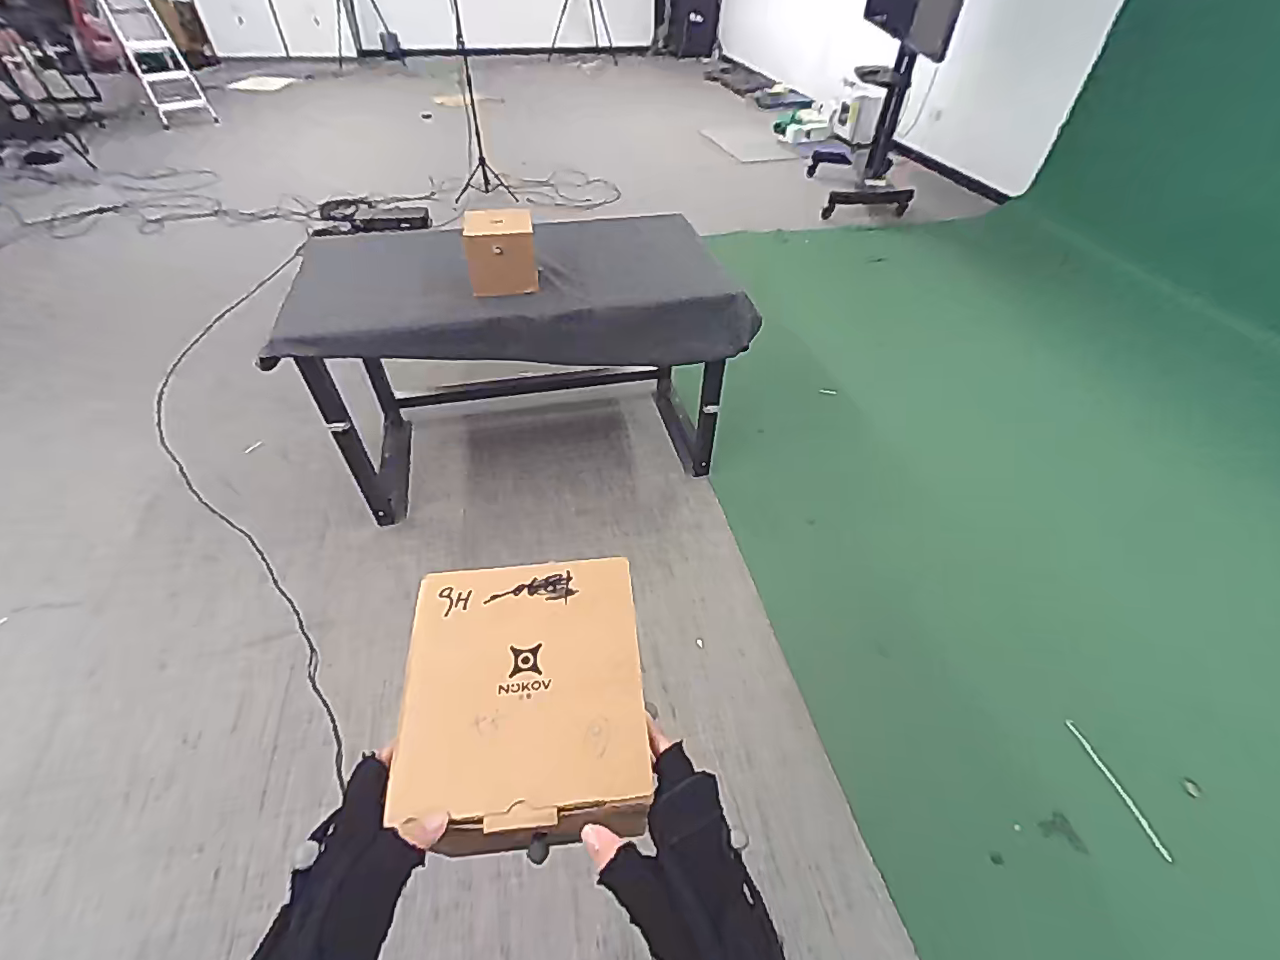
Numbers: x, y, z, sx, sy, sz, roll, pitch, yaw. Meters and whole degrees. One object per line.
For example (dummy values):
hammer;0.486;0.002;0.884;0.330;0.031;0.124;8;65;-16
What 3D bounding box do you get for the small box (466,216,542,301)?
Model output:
small box;-0.369;-0.604;1.482;0.179;0.176;0.168;-7;47;-10
